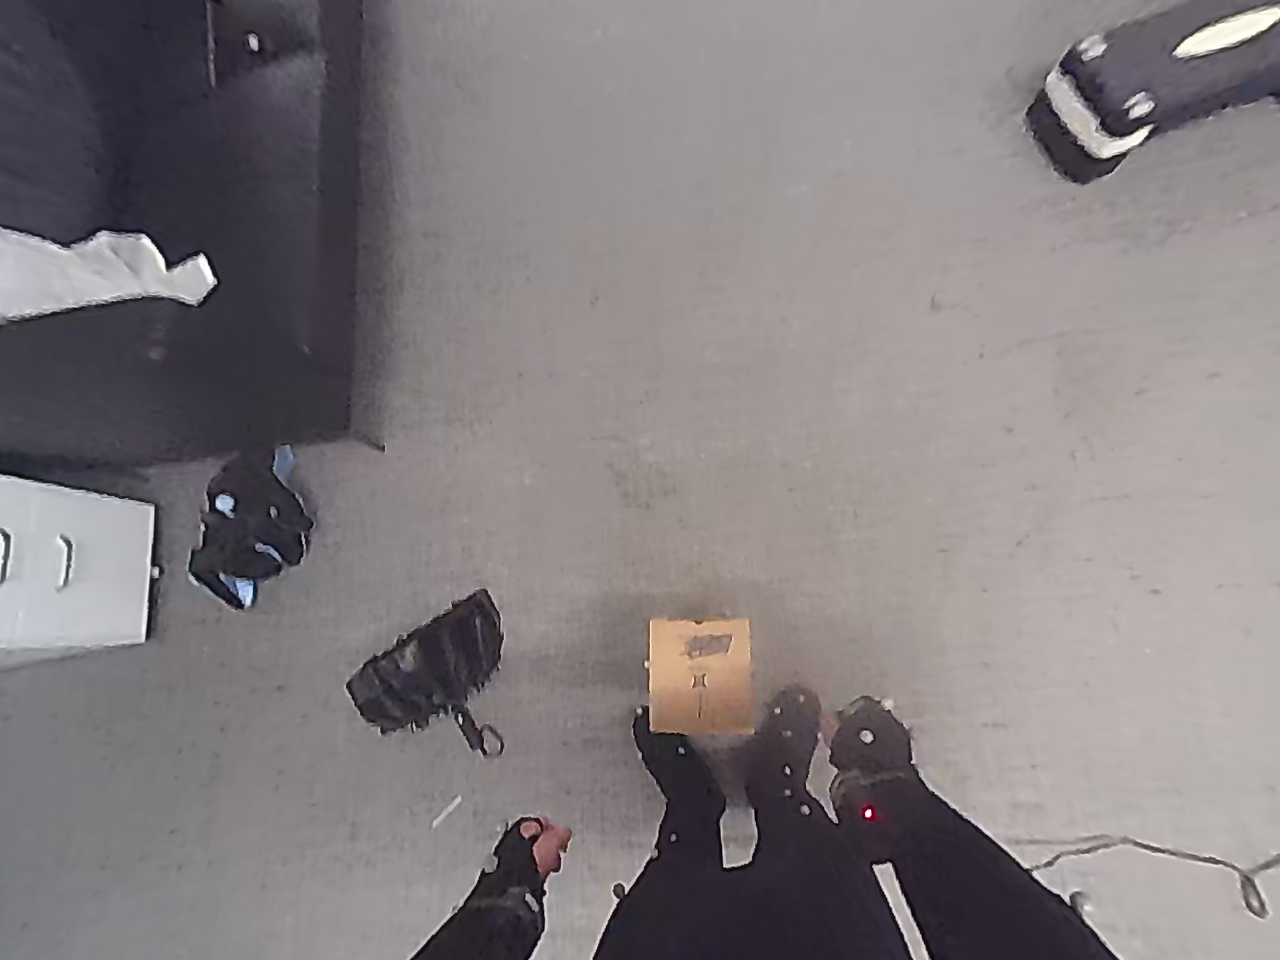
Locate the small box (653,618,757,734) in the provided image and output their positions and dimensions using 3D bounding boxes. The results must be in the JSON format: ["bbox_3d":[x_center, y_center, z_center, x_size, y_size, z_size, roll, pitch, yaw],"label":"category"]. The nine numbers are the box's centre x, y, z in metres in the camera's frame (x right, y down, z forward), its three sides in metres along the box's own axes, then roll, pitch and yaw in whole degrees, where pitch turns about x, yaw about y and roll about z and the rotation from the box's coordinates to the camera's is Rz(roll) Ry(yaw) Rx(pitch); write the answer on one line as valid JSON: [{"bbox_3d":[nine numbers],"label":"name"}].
[{"bbox_3d":[0.114,0.334,0.951,0.168,0.176,0.179,-2,76,8],"label":"small box"}]
